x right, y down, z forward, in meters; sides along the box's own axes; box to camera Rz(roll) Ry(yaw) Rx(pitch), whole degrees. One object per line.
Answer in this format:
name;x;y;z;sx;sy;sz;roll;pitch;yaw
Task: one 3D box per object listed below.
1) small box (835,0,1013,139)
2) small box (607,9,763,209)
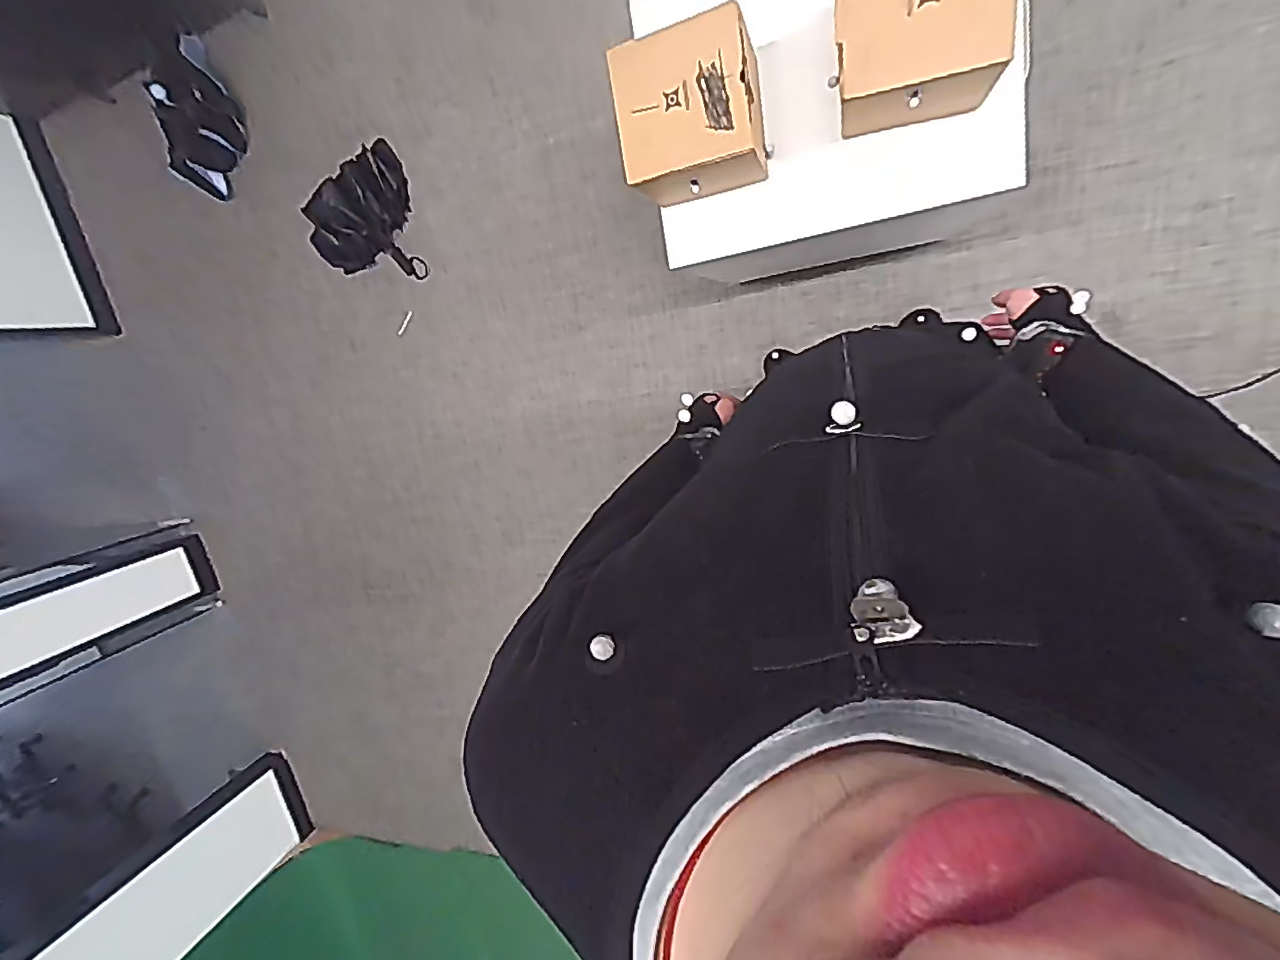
small box;0.334;-0.544;0.662;0.179;0.176;0.168;-1;107;20
small box;0.076;-0.504;0.767;0.179;0.176;0.168;-4;104;22
